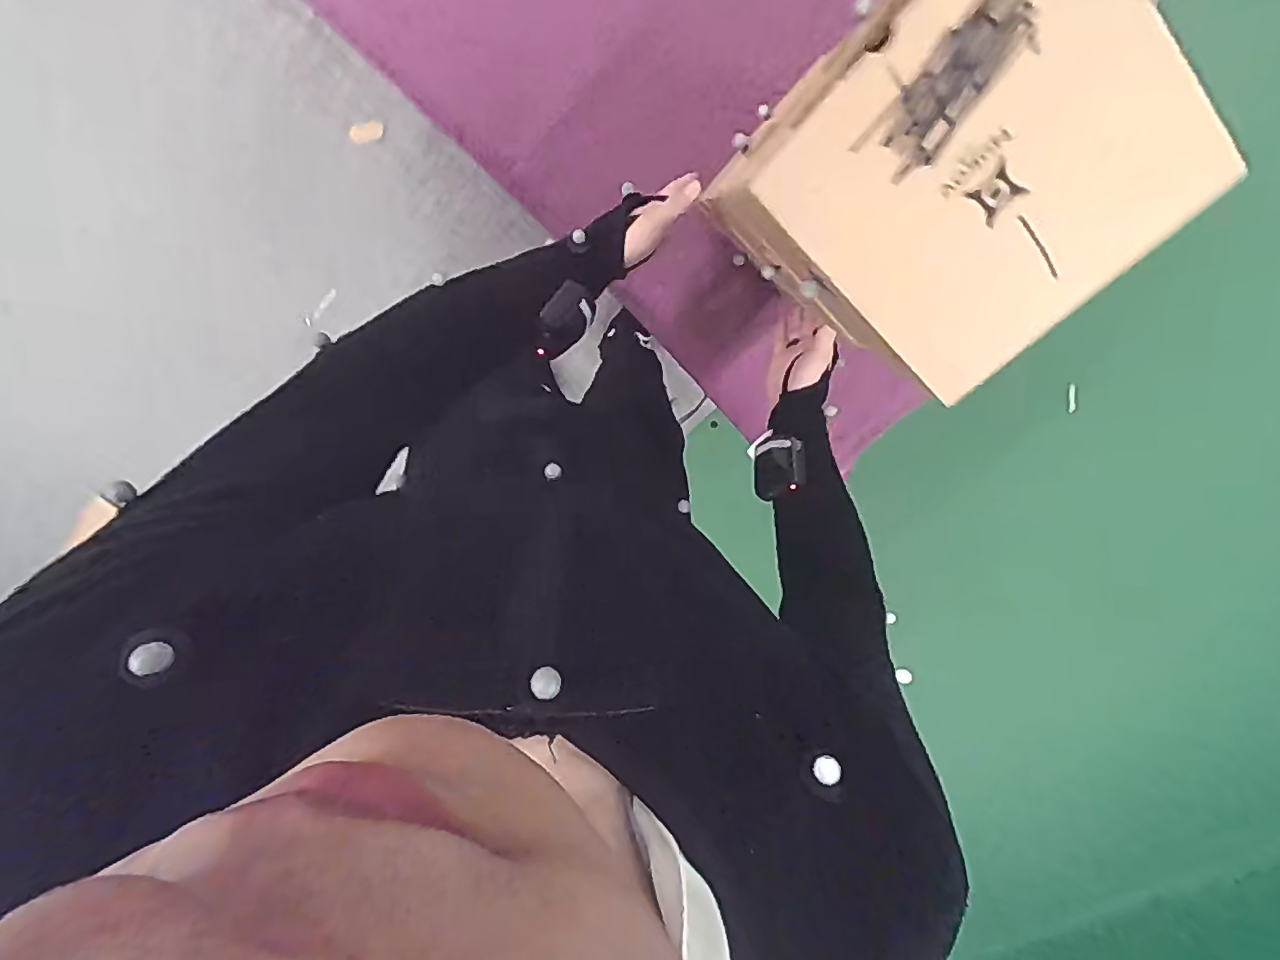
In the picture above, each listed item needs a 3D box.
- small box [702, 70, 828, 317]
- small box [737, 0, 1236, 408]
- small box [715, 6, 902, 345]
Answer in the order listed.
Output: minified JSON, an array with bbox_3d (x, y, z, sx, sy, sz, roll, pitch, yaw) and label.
[{"bbox_3d":[0.191,-0.326,0.636,0.179,0.176,0.168,40,111,-16],"label":"small box"},{"bbox_3d":[0.180,-0.180,0.343,0.179,0.176,0.168,40,113,-16],"label":"small box"},{"bbox_3d":[0.184,-0.253,0.489,0.179,0.176,0.168,41,112,-16],"label":"small box"}]
